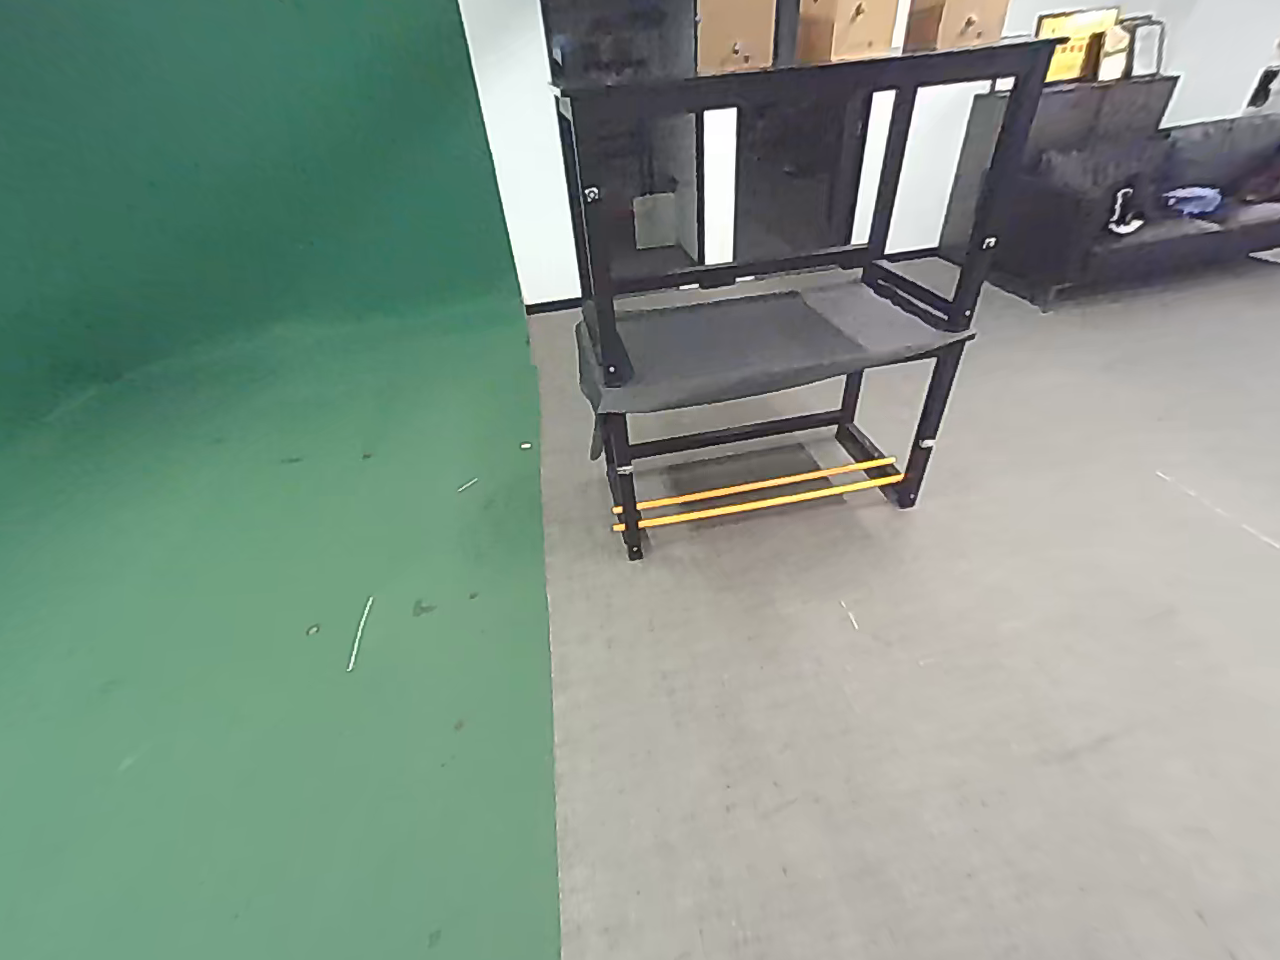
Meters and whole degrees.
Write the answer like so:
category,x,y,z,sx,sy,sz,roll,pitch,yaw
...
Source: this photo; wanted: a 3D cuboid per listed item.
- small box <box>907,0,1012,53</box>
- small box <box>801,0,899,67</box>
category,x,y,z,sx,sy,sz,roll,pitch,yaw
small box,0.794,-1.175,1.342,0.168,0.176,0.179,-7,39,-1
small box,0.508,-1.118,1.311,0.168,0.176,0.179,-13,38,-10
